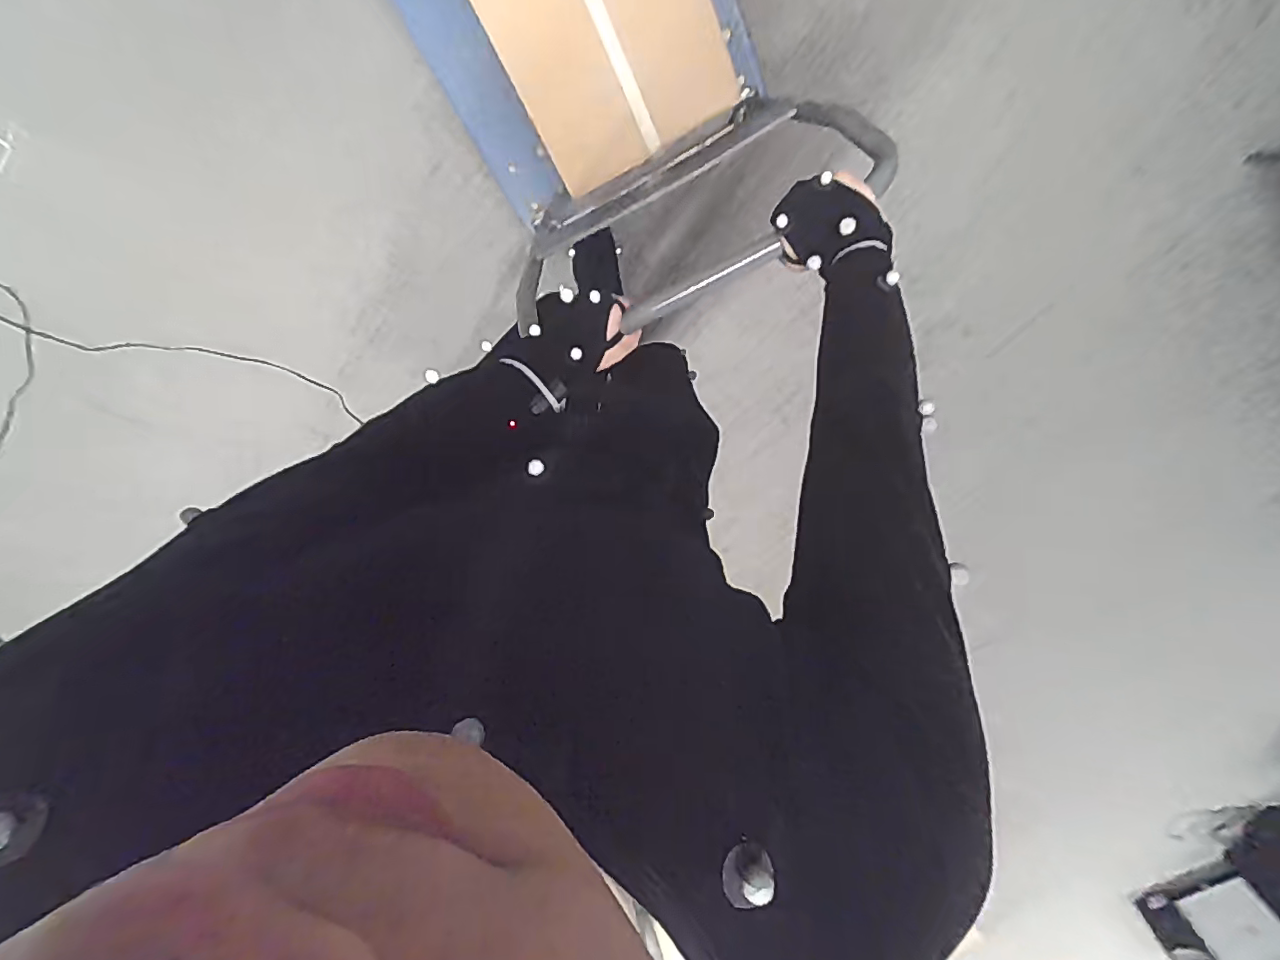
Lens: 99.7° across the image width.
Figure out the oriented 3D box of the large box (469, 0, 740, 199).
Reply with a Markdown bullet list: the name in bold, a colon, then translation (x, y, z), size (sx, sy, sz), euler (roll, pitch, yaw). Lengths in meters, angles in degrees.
- **large box**: translation (-0.070, -0.763, 0.915), size (0.320, 0.320, 0.408), euler (-25, 121, 12)
